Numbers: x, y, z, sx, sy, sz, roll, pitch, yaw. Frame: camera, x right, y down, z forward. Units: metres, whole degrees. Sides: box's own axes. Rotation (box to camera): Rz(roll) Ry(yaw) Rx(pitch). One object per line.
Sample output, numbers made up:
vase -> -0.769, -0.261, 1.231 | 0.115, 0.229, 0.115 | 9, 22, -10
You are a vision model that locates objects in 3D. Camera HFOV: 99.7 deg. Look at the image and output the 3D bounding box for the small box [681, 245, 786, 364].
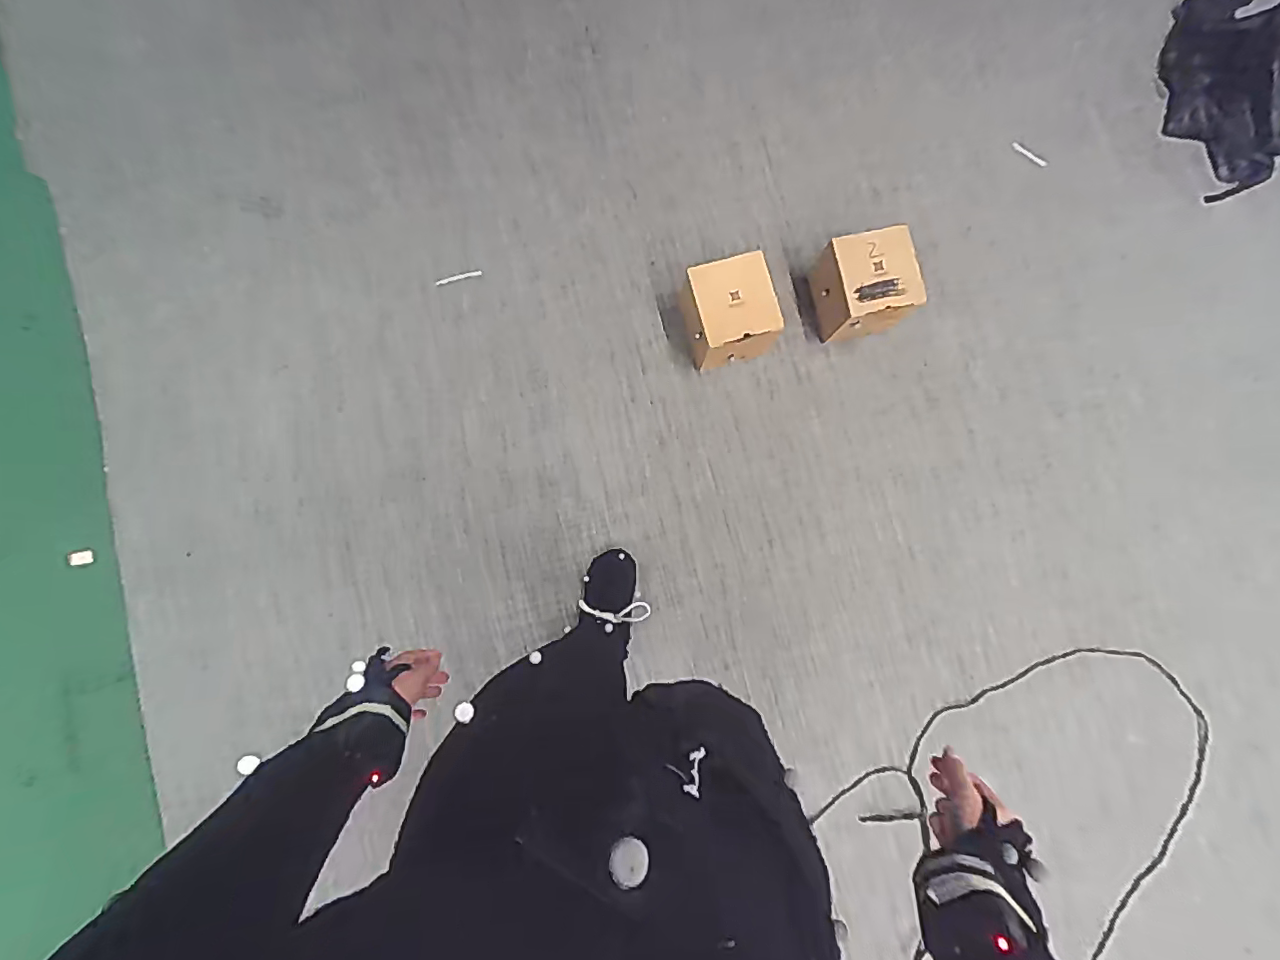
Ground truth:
small box -> 0.194, -0.374, 1.177 | 0.168, 0.176, 0.179 | -16, 86, -3
